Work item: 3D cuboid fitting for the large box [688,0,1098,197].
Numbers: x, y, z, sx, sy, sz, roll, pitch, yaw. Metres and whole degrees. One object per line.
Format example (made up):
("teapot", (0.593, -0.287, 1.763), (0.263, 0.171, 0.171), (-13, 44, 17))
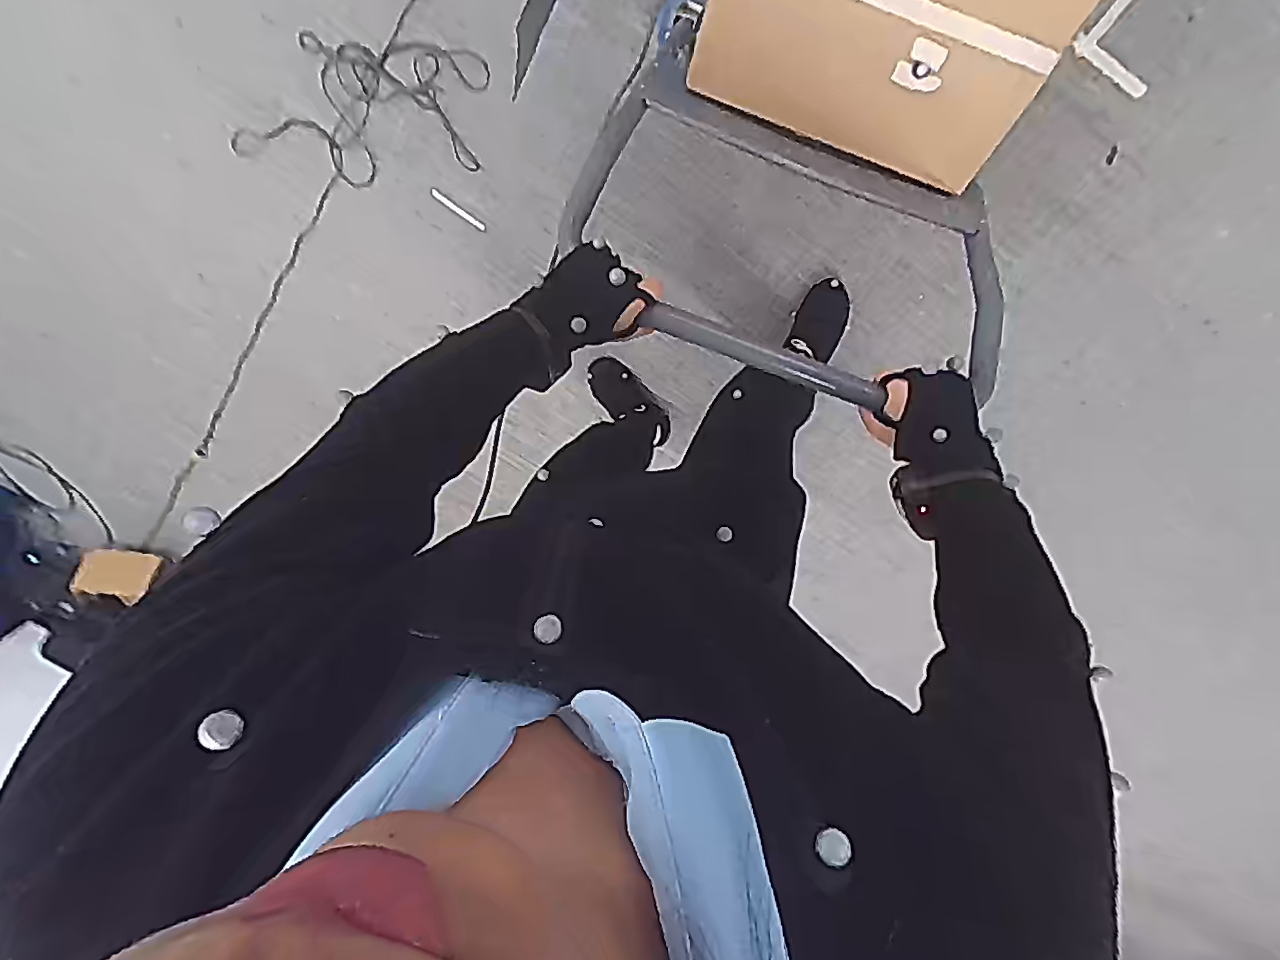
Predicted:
("large box", (0.315, -0.648, 0.705), (0.408, 0.320, 0.320), (19, 142, -4))
